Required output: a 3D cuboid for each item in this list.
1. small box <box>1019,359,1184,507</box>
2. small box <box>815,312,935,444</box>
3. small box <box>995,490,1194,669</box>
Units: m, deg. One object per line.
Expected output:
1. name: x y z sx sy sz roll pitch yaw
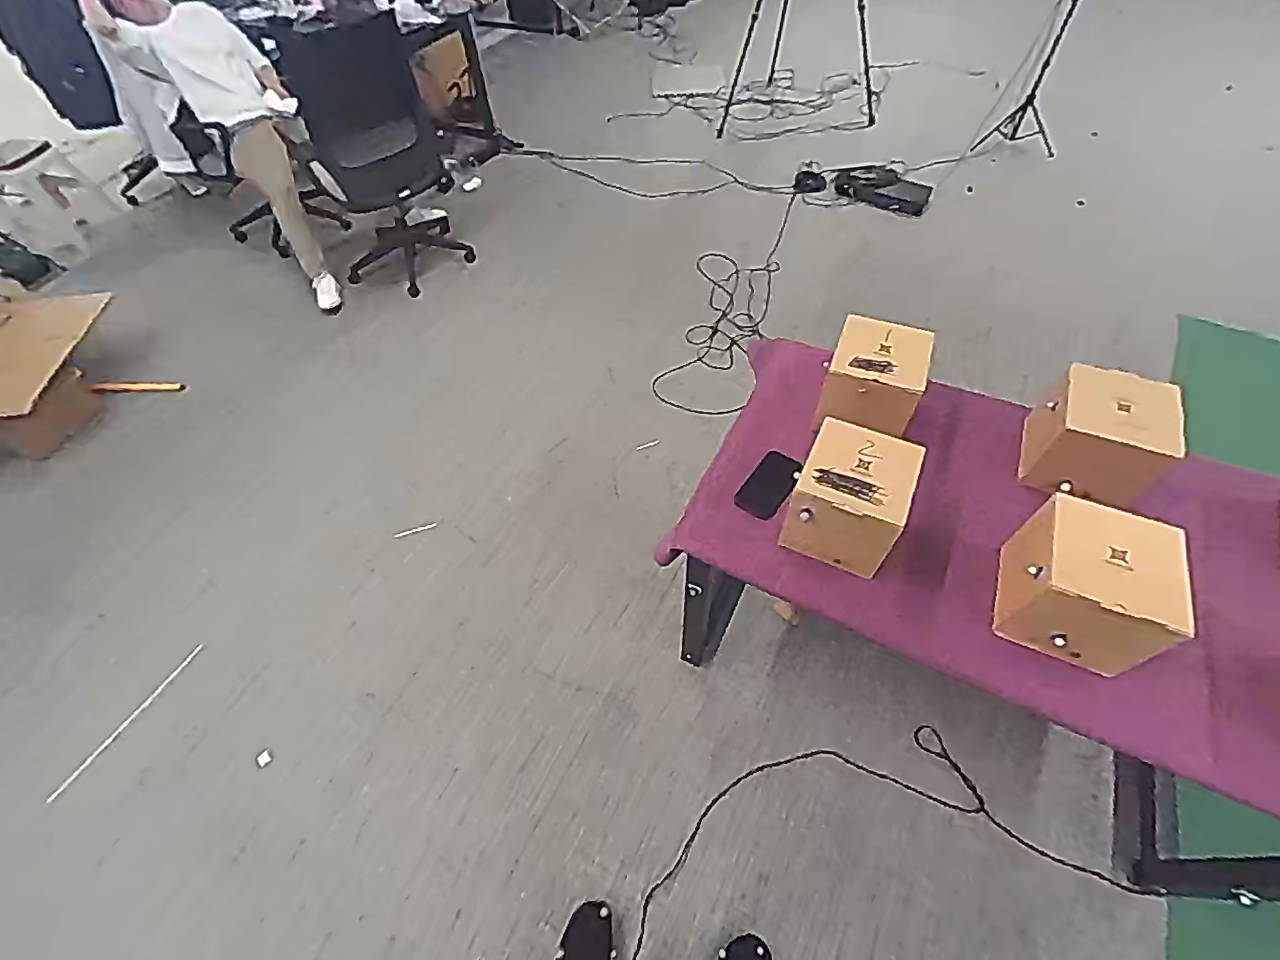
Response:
1. small box: 0.814 -0.080 0.970 0.168 0.176 0.179 21 59 18
2. small box: 0.459 -0.198 1.073 0.168 0.176 0.179 19 57 15
3. small box: 0.664 0.151 0.811 0.168 0.176 0.179 20 58 17
